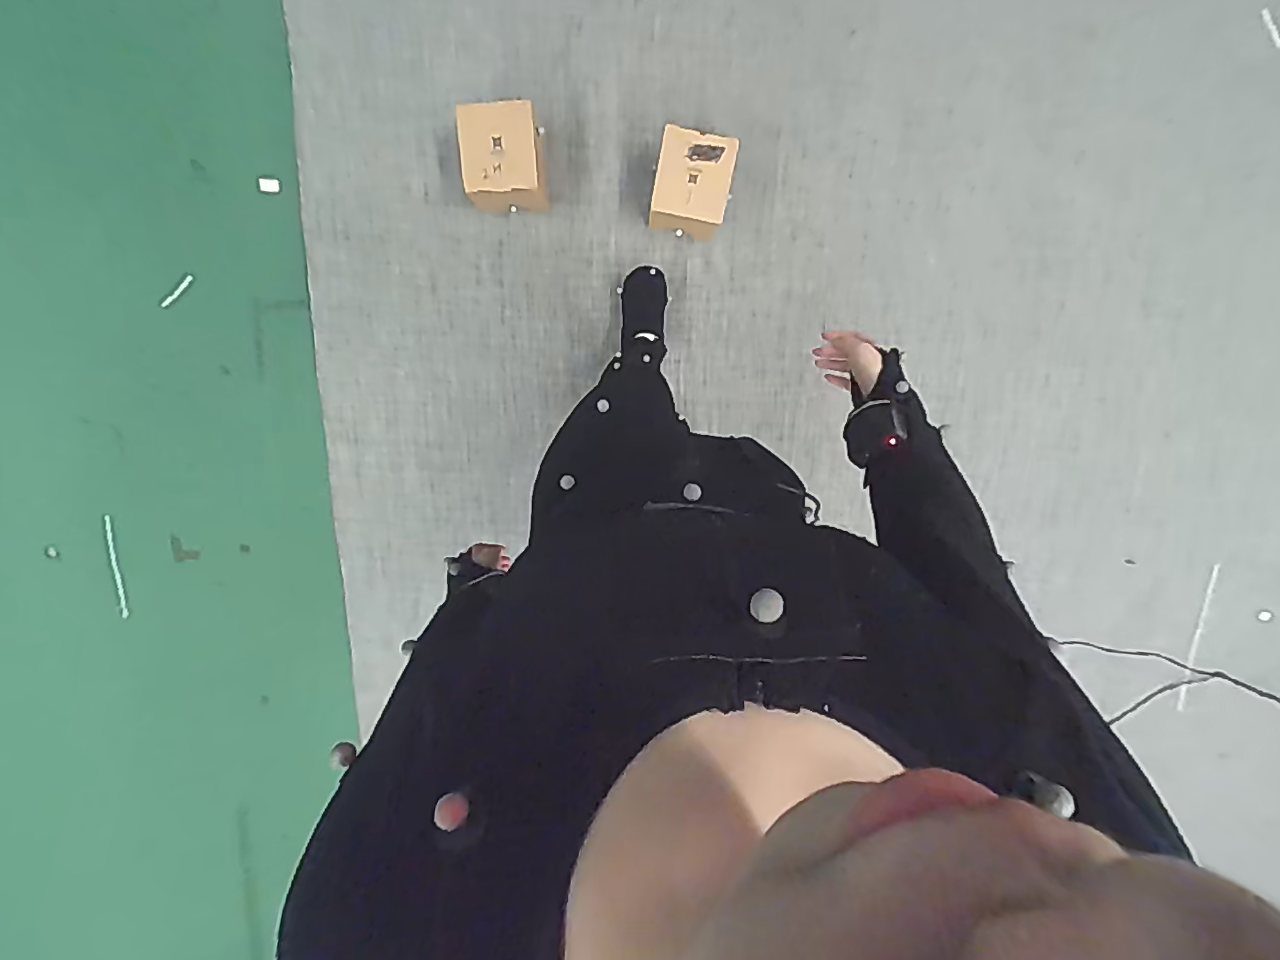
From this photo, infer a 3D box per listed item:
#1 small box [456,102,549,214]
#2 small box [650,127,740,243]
[{"bbox_3d":[-0.306,-0.727,1.236,0.168,0.176,0.179,-2,102,1],"label":"small box"},{"bbox_3d":[0.118,-0.670,1.247,0.168,0.176,0.179,11,102,-2],"label":"small box"}]
